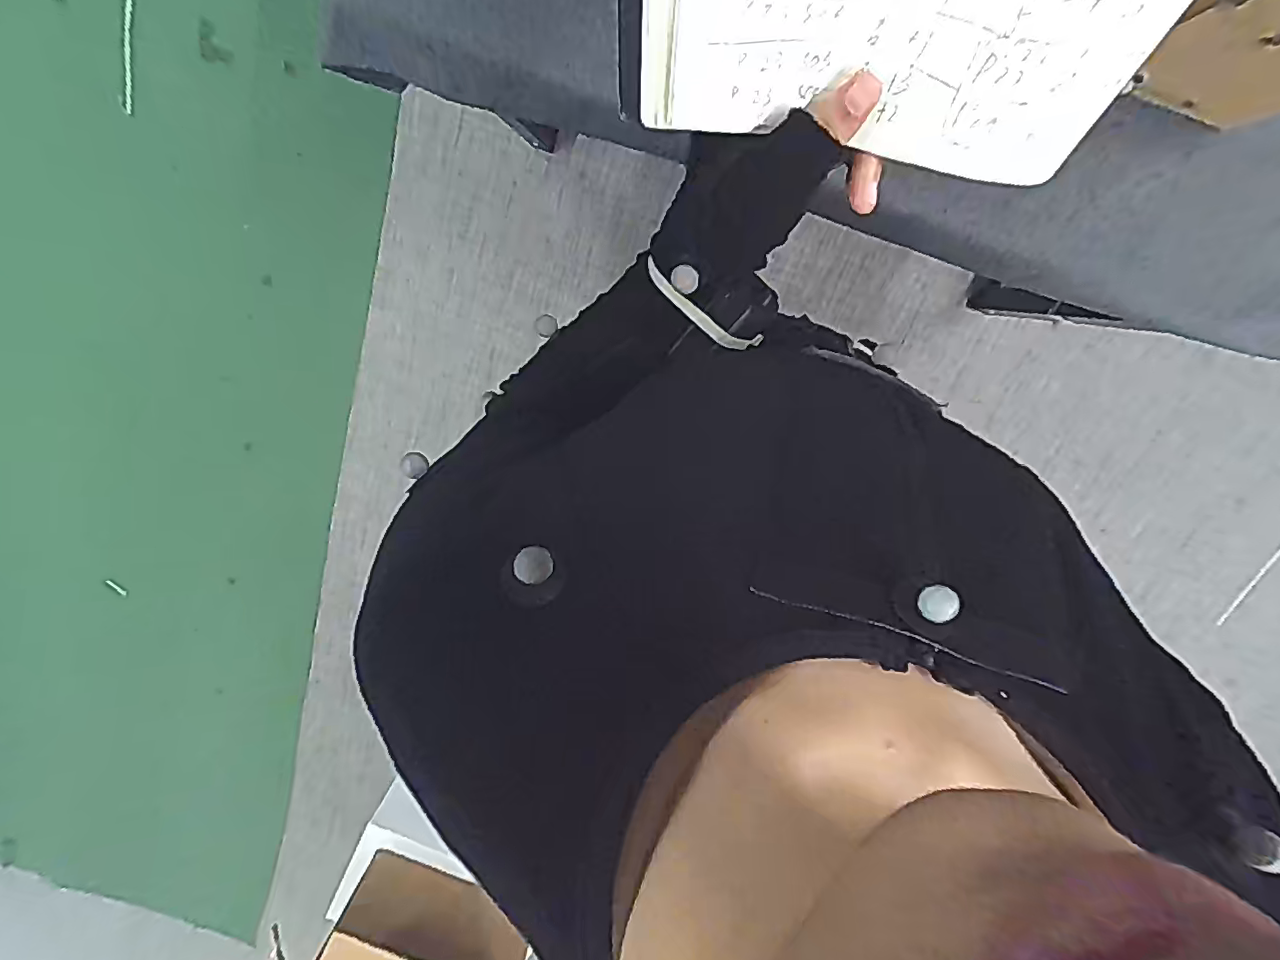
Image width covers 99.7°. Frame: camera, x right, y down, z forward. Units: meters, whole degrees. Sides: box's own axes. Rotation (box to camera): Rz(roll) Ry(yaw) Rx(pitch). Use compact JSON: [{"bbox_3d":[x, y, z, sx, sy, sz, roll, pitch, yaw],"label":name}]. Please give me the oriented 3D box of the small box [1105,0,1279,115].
[{"bbox_3d":[0.560,-0.449,0.459,0.168,0.176,0.179,19,109,-2],"label":"small box"}]
